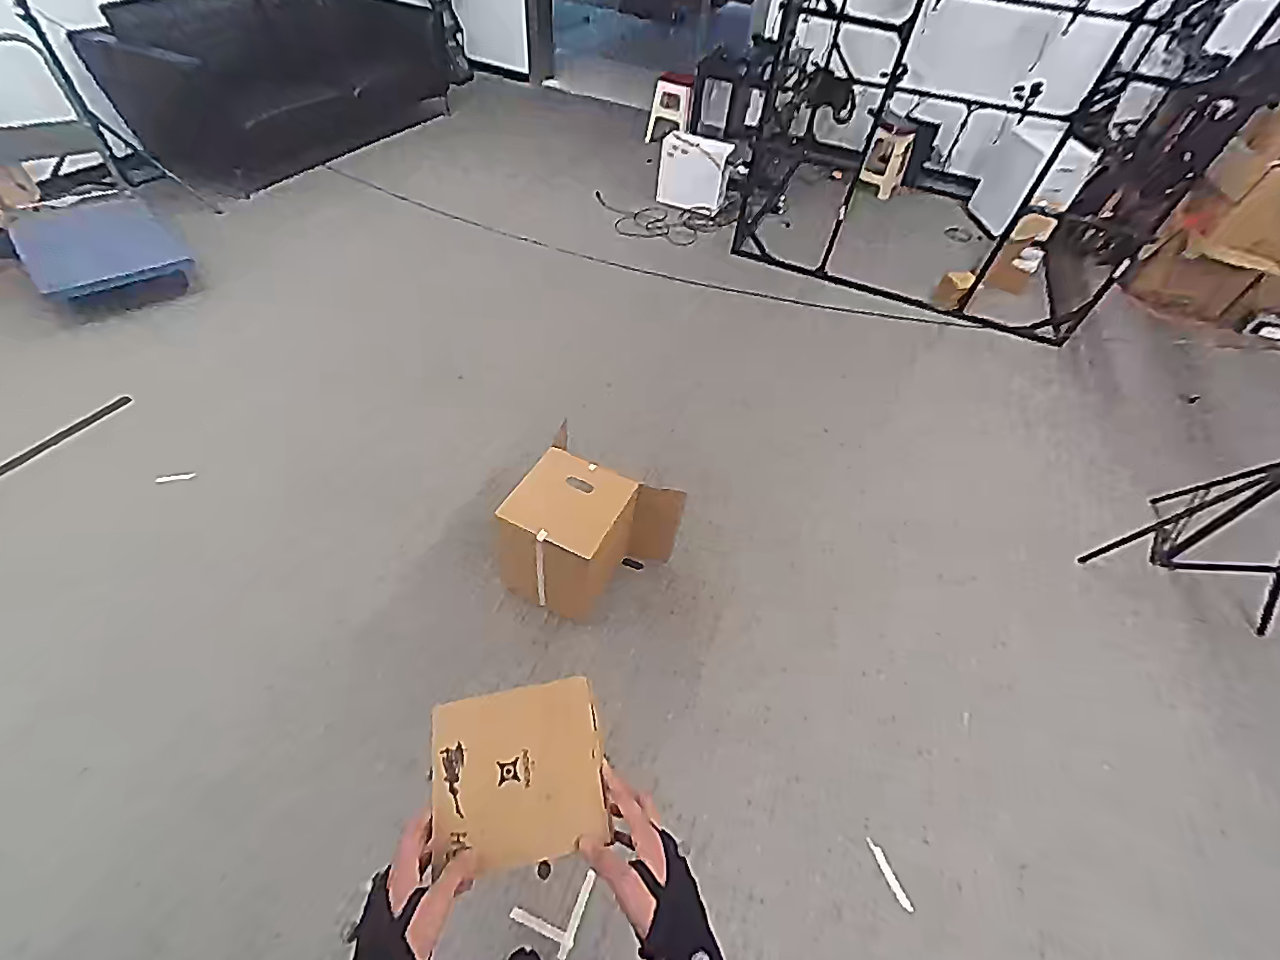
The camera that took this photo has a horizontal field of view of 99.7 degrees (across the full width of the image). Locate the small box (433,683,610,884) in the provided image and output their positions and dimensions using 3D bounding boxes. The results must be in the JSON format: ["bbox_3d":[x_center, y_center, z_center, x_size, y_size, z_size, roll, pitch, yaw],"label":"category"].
[{"bbox_3d":[-0.131,0.354,0.640,0.179,0.176,0.168,-8,58,-6],"label":"small box"}]
